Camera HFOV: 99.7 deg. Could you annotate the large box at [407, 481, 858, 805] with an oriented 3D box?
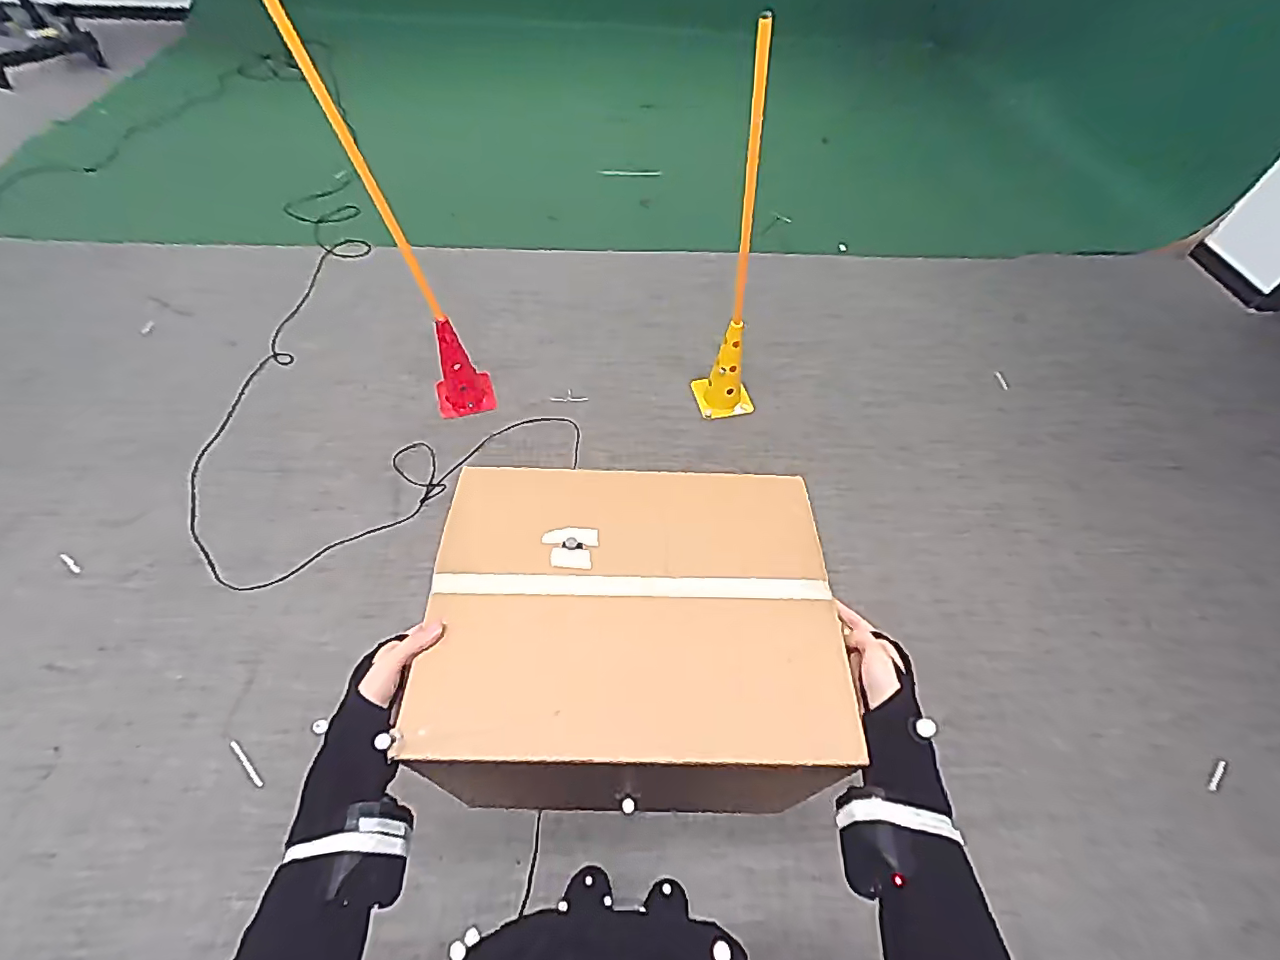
[{"bbox_3d":[-0.007,0.213,0.678,0.408,0.320,0.320,1,51,-1],"label":"large box"}]
